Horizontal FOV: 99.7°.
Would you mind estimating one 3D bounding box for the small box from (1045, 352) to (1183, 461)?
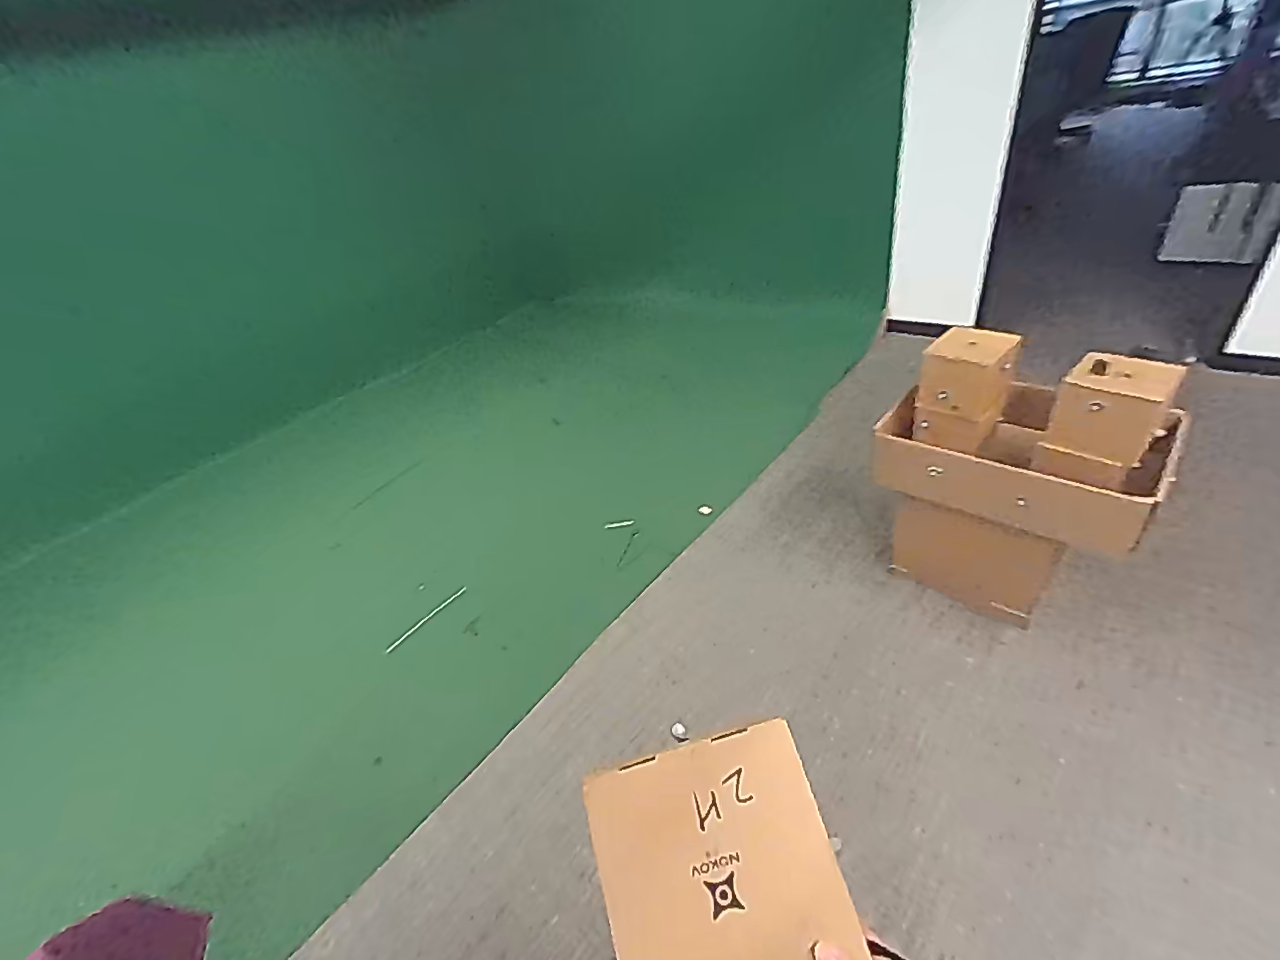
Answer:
[{"bbox_3d":[1.060,-0.167,1.224,0.168,0.176,0.179,-35,42,-26],"label":"small box"}]

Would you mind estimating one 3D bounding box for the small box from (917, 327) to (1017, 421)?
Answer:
[{"bbox_3d":[0.864,-0.285,1.443,0.179,0.176,0.168,-36,42,-26],"label":"small box"}]

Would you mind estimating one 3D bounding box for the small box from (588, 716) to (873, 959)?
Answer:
[{"bbox_3d":[0.064,0.309,0.454,0.168,0.176,0.179,-15,65,-4],"label":"small box"}]
